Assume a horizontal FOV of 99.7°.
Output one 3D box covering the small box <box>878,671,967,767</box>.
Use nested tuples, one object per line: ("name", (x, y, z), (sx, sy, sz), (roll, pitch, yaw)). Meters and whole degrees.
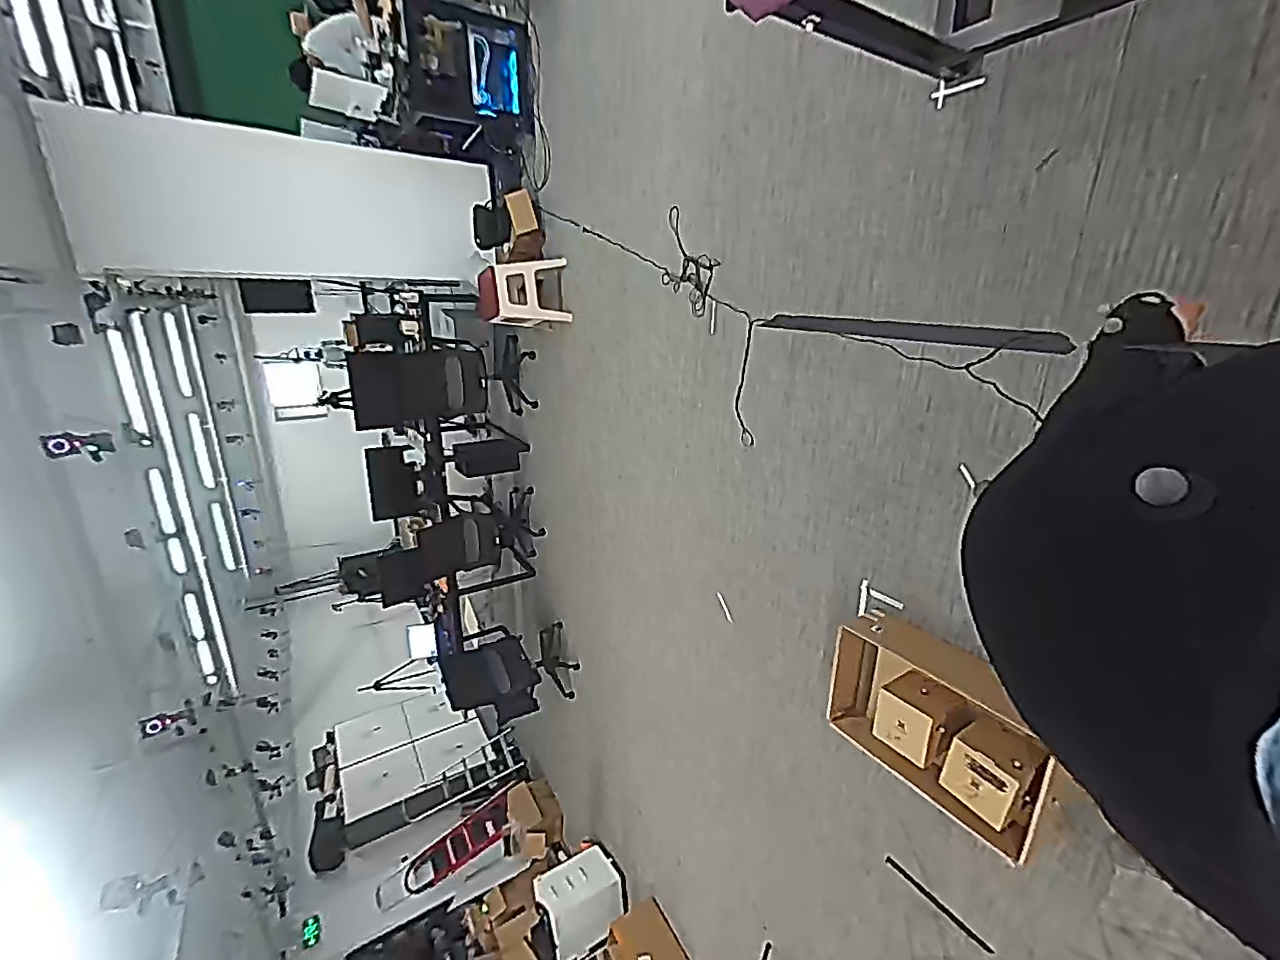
("small box", (0.846, 0.703, 1.615), (0.168, 0.176, 0.179), (25, 120, 54))
